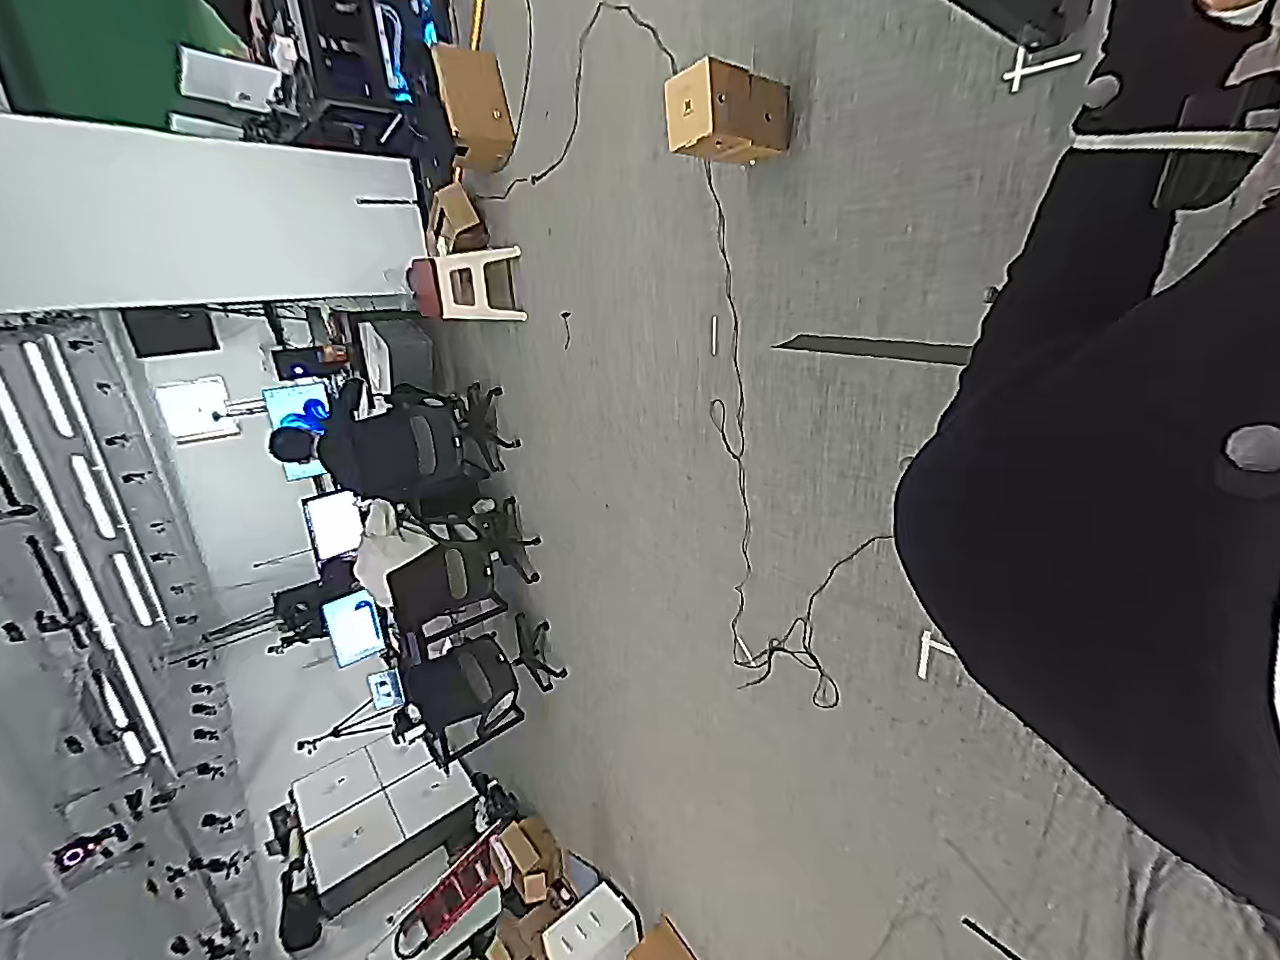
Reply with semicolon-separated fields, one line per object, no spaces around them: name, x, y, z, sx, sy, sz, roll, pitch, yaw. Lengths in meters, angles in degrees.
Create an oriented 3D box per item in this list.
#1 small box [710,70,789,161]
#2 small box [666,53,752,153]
small box;0.319;-1.053;1.577;0.168;0.176;0.179;17;118;48
small box;0.193;-1.018;1.480;0.168;0.176;0.179;12;113;49
